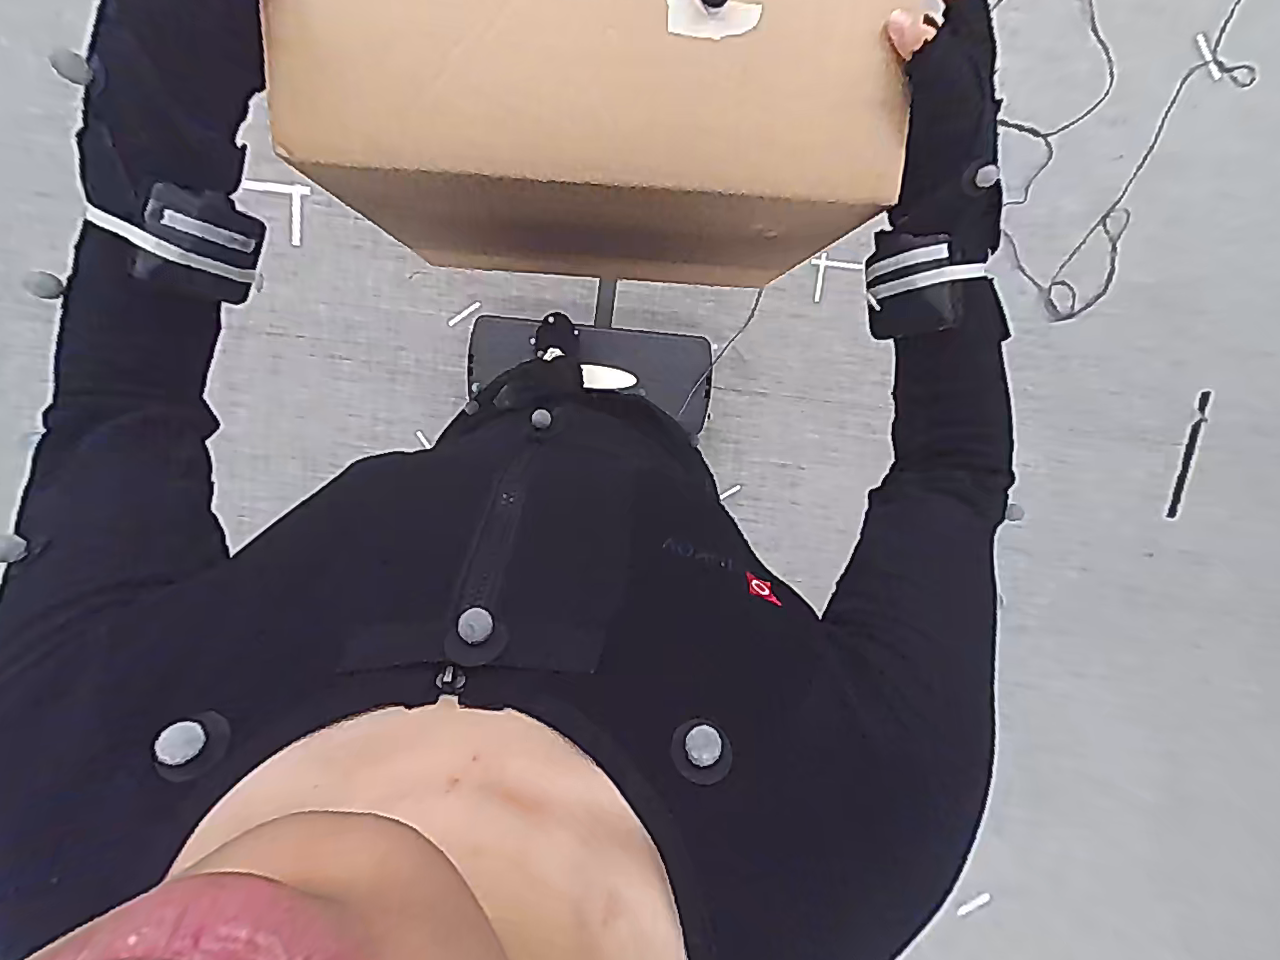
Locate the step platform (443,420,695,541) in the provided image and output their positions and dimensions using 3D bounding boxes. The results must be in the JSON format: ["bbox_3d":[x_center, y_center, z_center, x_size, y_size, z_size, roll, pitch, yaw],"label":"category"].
[{"bbox_3d":[-0.187,-0.001,1.505,0.684,0.204,0.286,4,97,-2],"label":"step platform"}]

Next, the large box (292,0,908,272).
[{"bbox_3d":[-0.030,-0.383,0.486,0.408,0.320,0.320,1,100,-5],"label":"large box"}]
